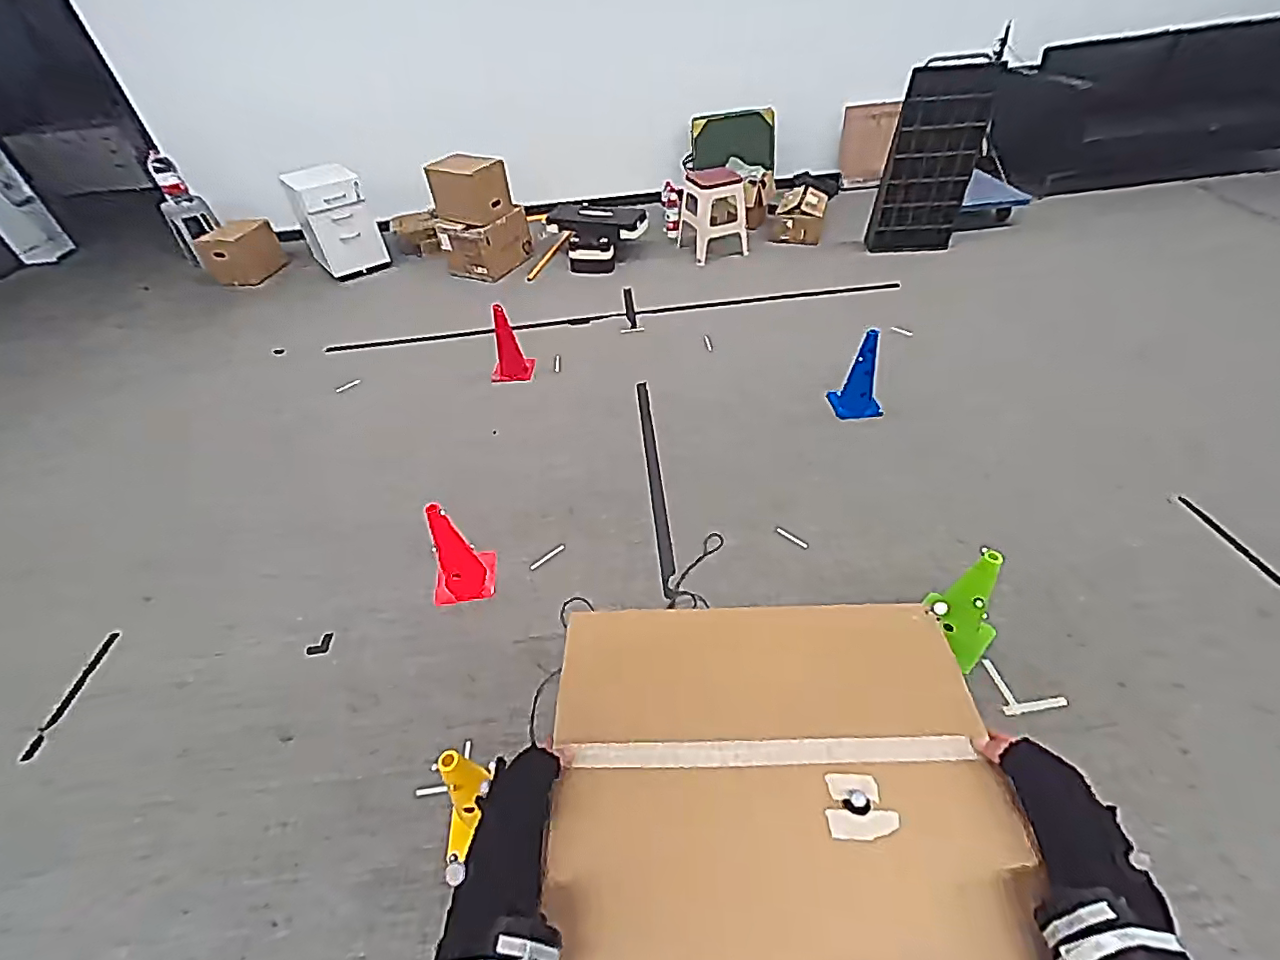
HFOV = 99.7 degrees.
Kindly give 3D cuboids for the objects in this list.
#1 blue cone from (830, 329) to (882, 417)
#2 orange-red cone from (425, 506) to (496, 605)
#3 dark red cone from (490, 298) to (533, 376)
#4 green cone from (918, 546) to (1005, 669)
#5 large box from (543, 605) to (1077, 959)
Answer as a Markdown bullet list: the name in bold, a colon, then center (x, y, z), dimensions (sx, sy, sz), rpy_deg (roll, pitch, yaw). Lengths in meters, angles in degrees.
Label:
- **blue cone**: center (0.949, -0.463, 2.301), dimensions (0.192, 0.380, 0.193), rpy_deg (-4, 44, 0)
- **orange-red cone**: center (-0.608, 0.214, 1.736), dimensions (0.198, 0.360, 0.199), rpy_deg (-9, 45, -2)
- **dark red cone**: center (-0.665, -0.703, 2.657), dimensions (0.201, 0.394, 0.202), rpy_deg (-2, 44, 2)
- **green cone**: center (0.905, 0.313, 1.478), dimensions (0.202, 0.368, 0.200), rpy_deg (-34, 51, -28)
- **large box**: center (0.128, 0.363, 0.606), dimensions (0.408, 0.320, 0.320), rpy_deg (-2, 44, 2)
